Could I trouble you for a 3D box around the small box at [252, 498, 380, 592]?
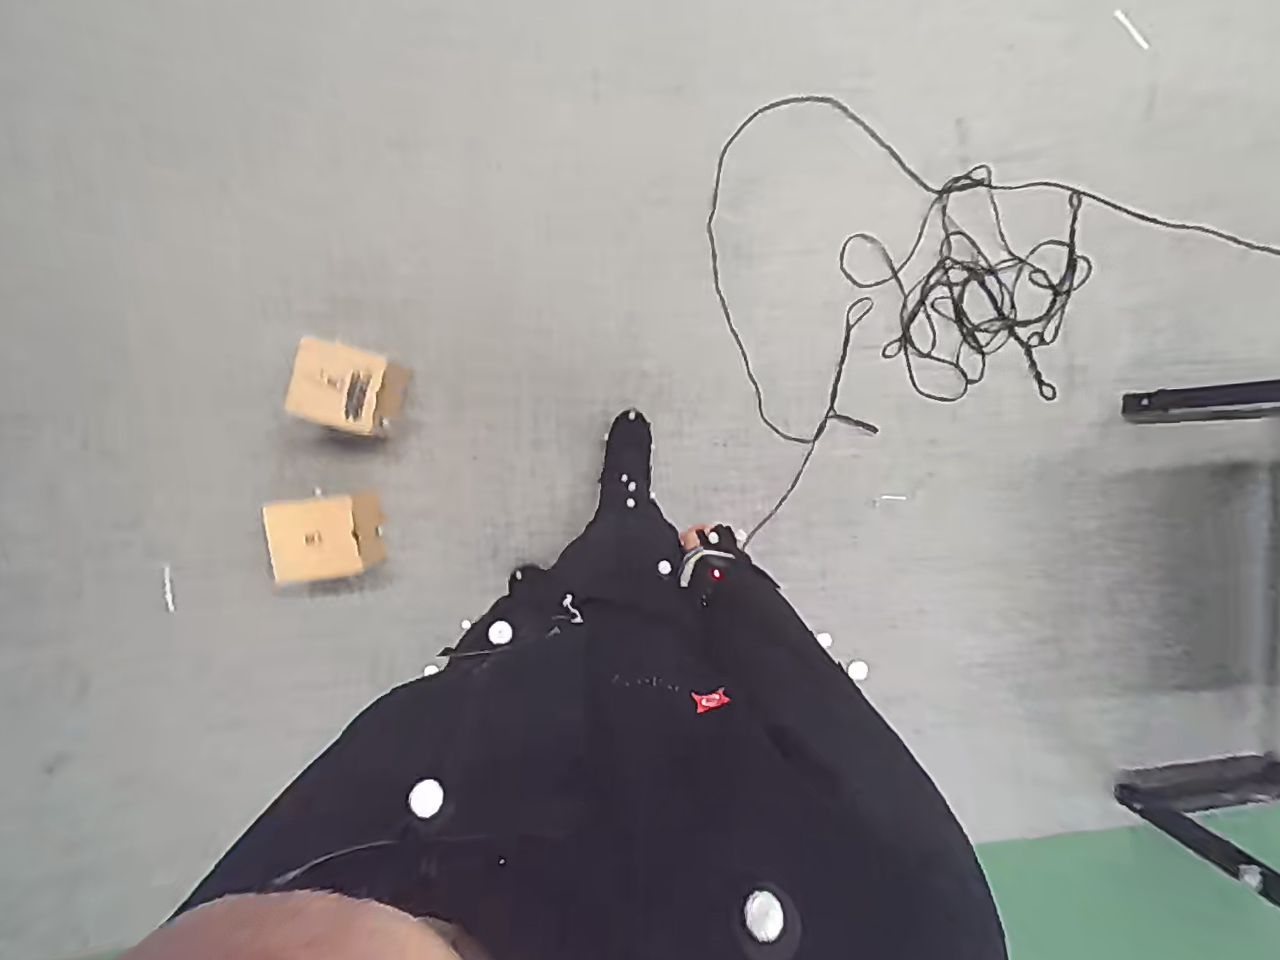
[{"bbox_3d":[-0.693,0.133,1.176,0.179,0.176,0.168,-8,94,-7],"label":"small box"}]
